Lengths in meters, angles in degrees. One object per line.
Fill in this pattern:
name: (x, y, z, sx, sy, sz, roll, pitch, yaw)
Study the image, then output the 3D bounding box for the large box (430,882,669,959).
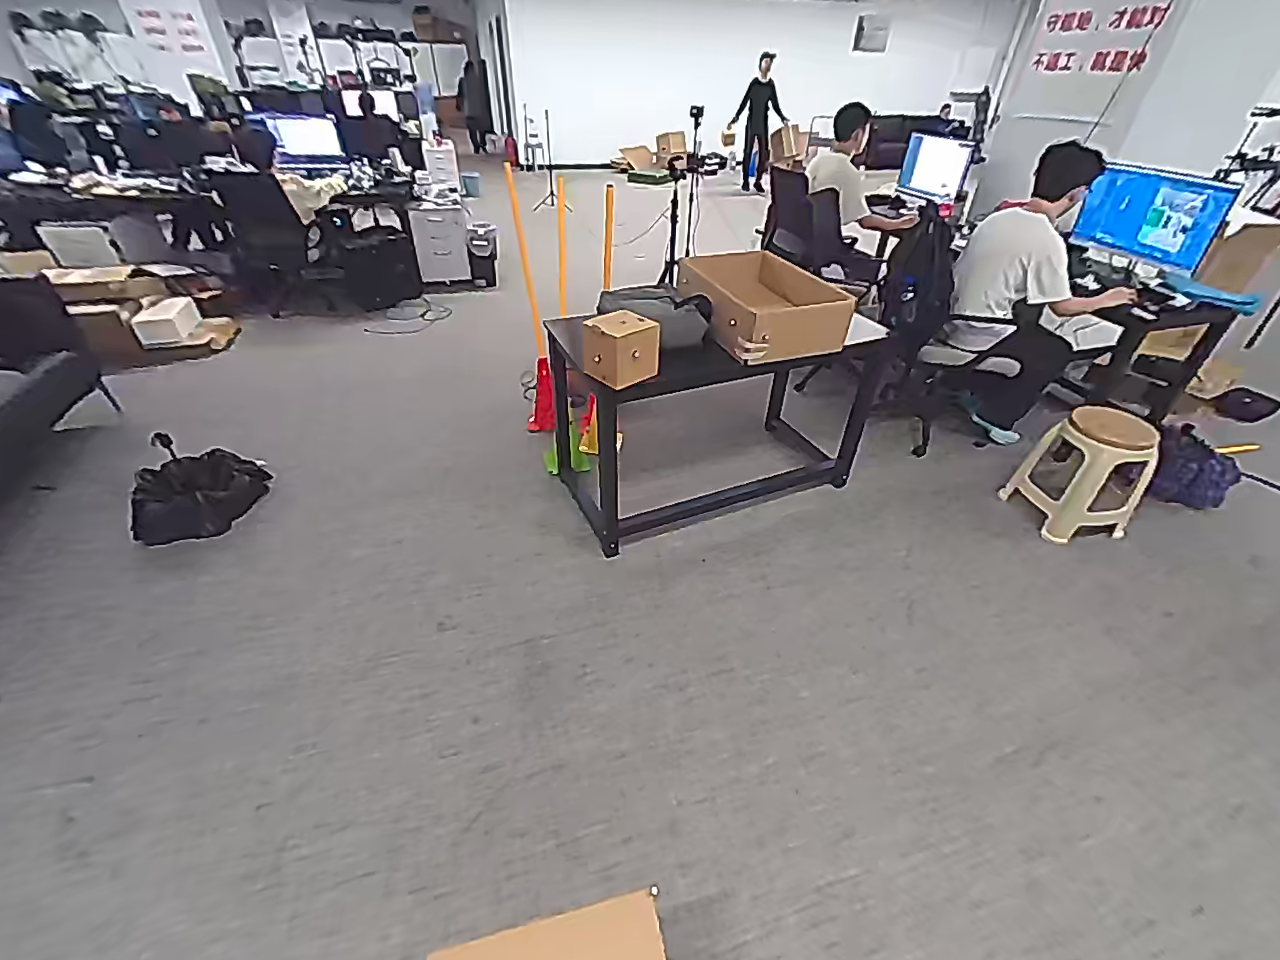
large box: (-0.136, 0.994, 0.949, 0.408, 0.320, 0.320, -8, 39, -12)
